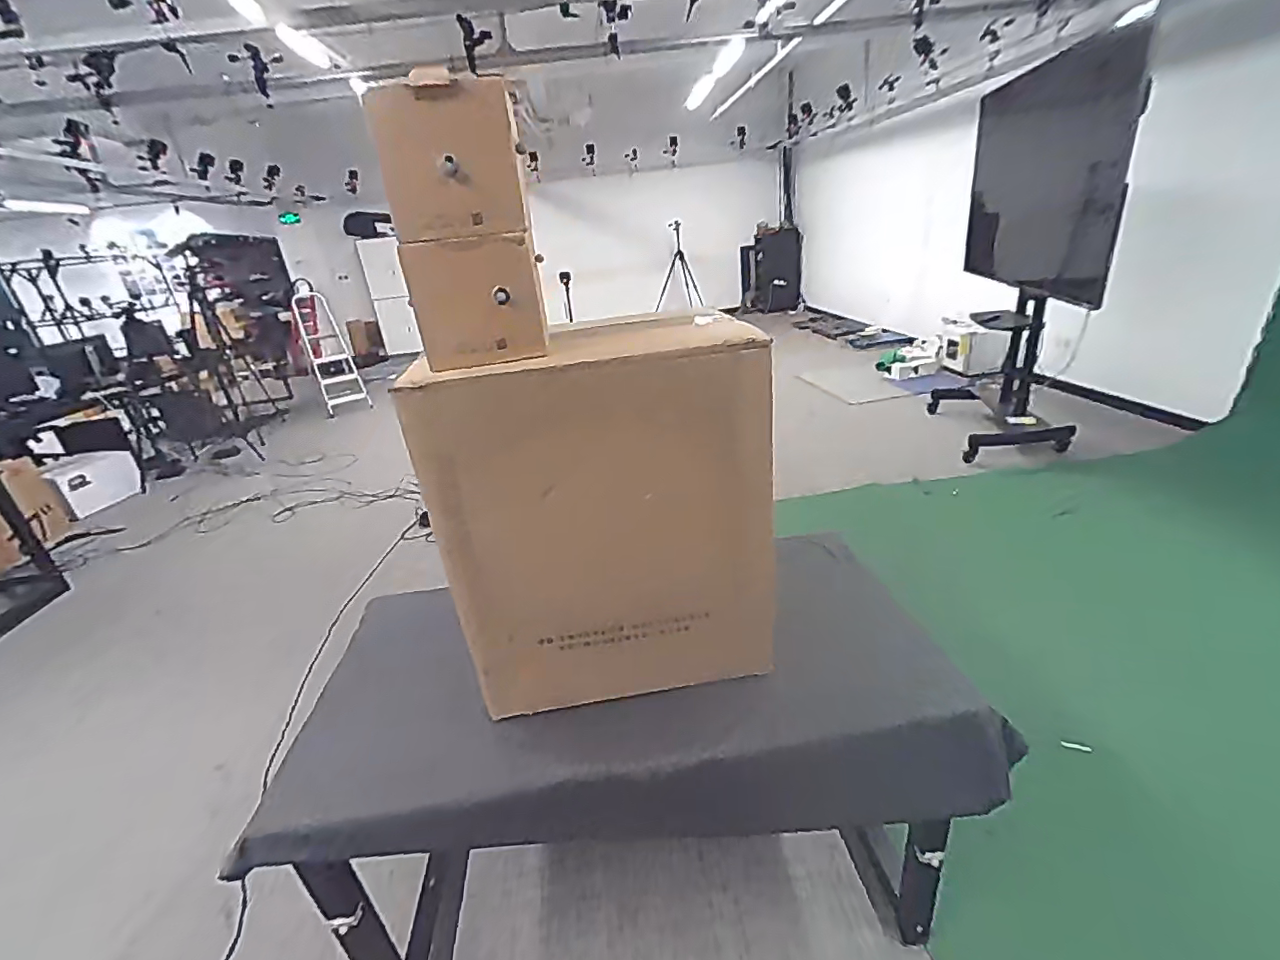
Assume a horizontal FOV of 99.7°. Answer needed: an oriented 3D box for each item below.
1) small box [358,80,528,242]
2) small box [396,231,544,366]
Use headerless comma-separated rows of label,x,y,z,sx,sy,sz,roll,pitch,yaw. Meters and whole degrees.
small box,-0.247,-0.416,0.729,0.168,0.176,0.179,-8,28,-6
small box,-0.236,-0.269,0.799,0.168,0.176,0.179,-8,26,-6
